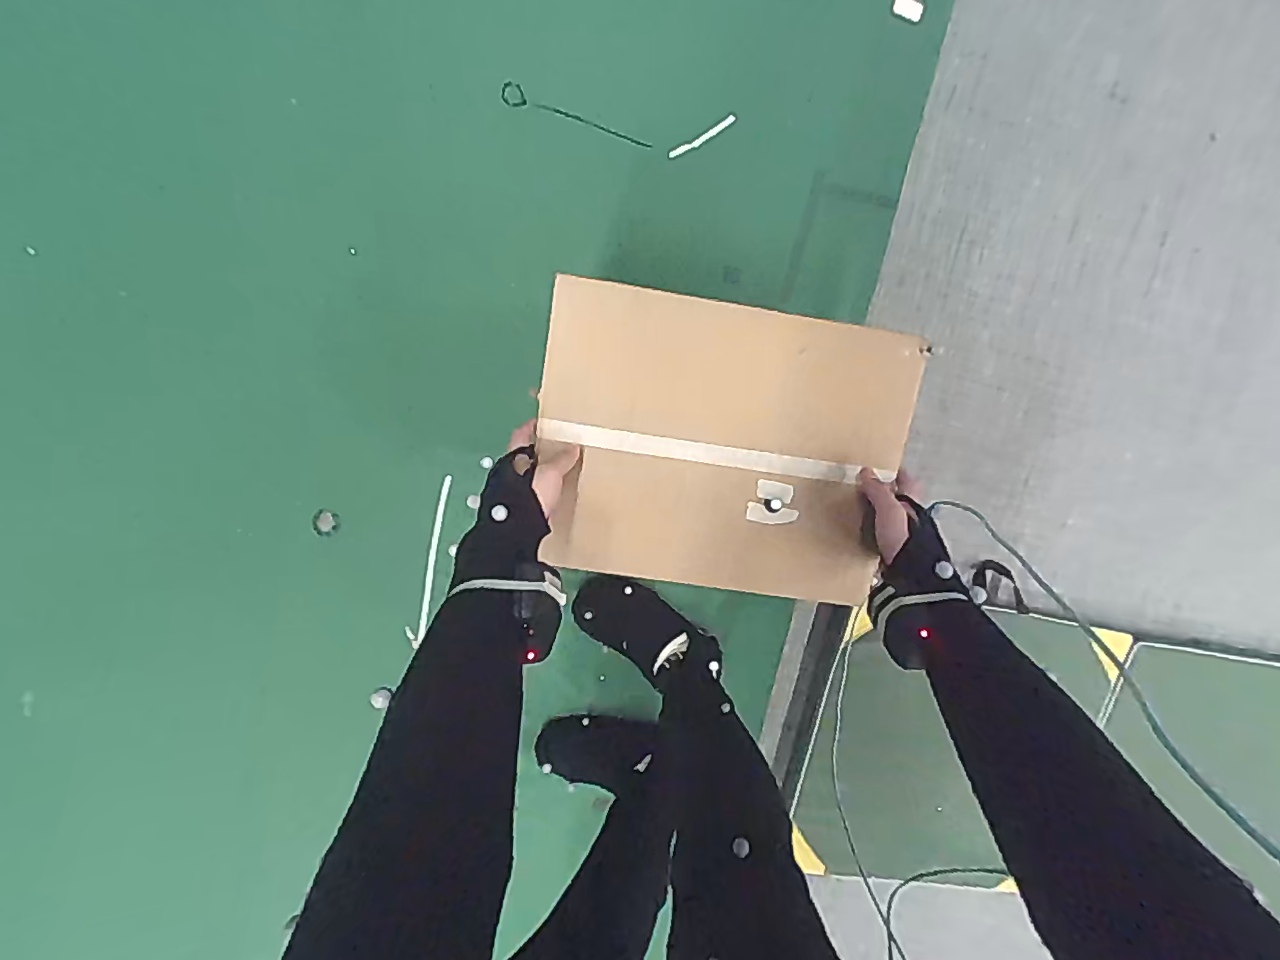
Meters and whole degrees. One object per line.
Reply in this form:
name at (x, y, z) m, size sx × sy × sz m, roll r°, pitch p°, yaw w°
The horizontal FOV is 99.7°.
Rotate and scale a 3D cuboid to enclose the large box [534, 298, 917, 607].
large box at (0.083, -0.046, 0.756) m, size 0.408 × 0.320 × 0.320 m, roll 8°, pitch 101°, yaw -5°
